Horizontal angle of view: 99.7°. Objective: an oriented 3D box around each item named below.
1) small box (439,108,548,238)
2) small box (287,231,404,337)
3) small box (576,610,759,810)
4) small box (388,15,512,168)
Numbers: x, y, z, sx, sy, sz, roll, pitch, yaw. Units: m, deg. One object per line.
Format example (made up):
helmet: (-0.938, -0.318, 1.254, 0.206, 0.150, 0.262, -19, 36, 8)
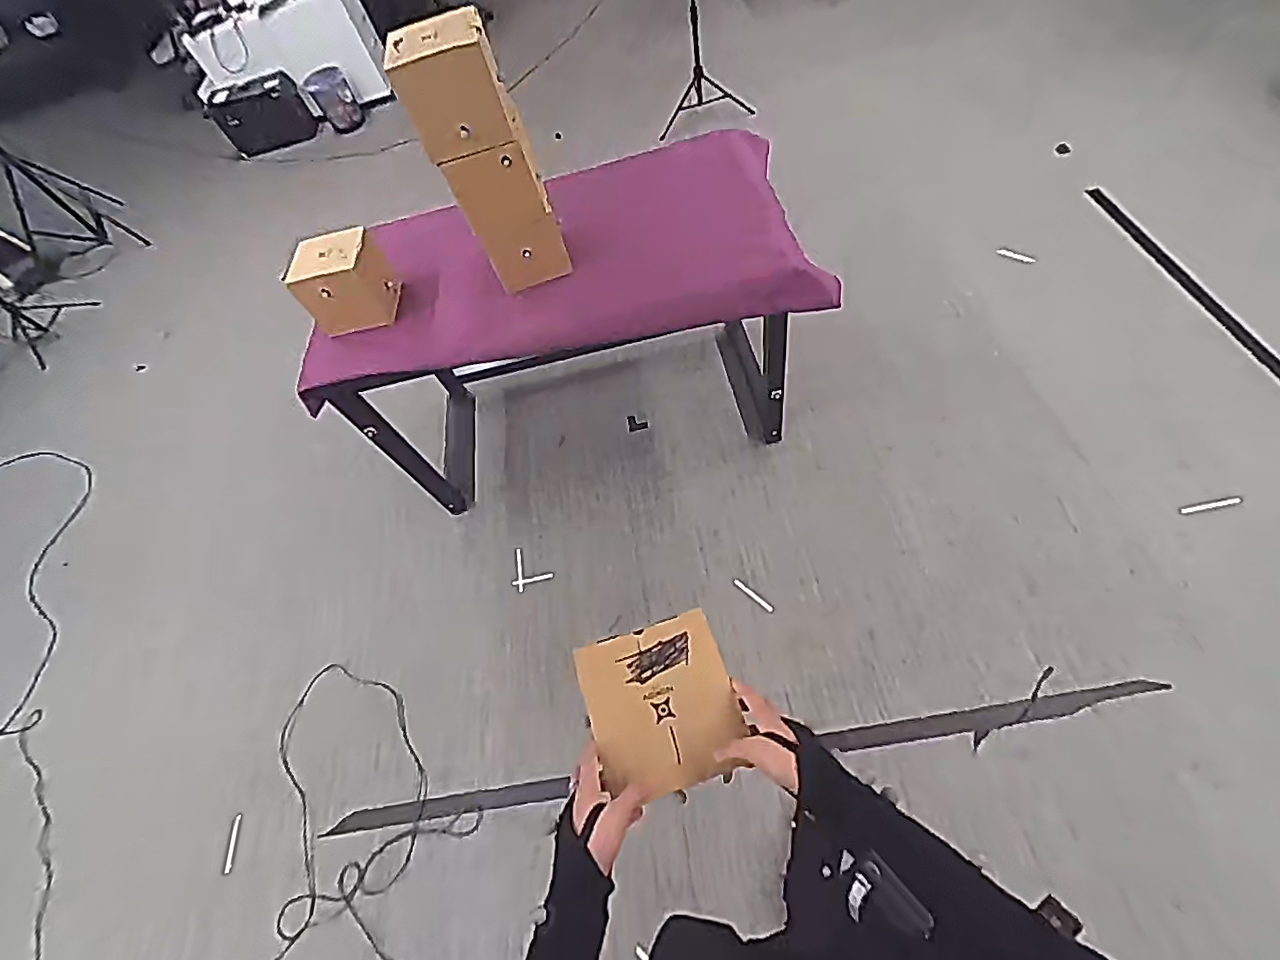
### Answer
small box: (-0.315, -0.660, 1.175, 0.179, 0.176, 0.168, -15, 58, 3)
small box: (-0.721, -0.480, 1.343, 0.179, 0.176, 0.168, -10, 58, 5)
small box: (0.024, 0.290, 0.677, 0.168, 0.176, 0.179, -16, 62, -9)
small box: (-0.352, -0.738, 1.036, 0.179, 0.176, 0.168, -14, 57, 2)
